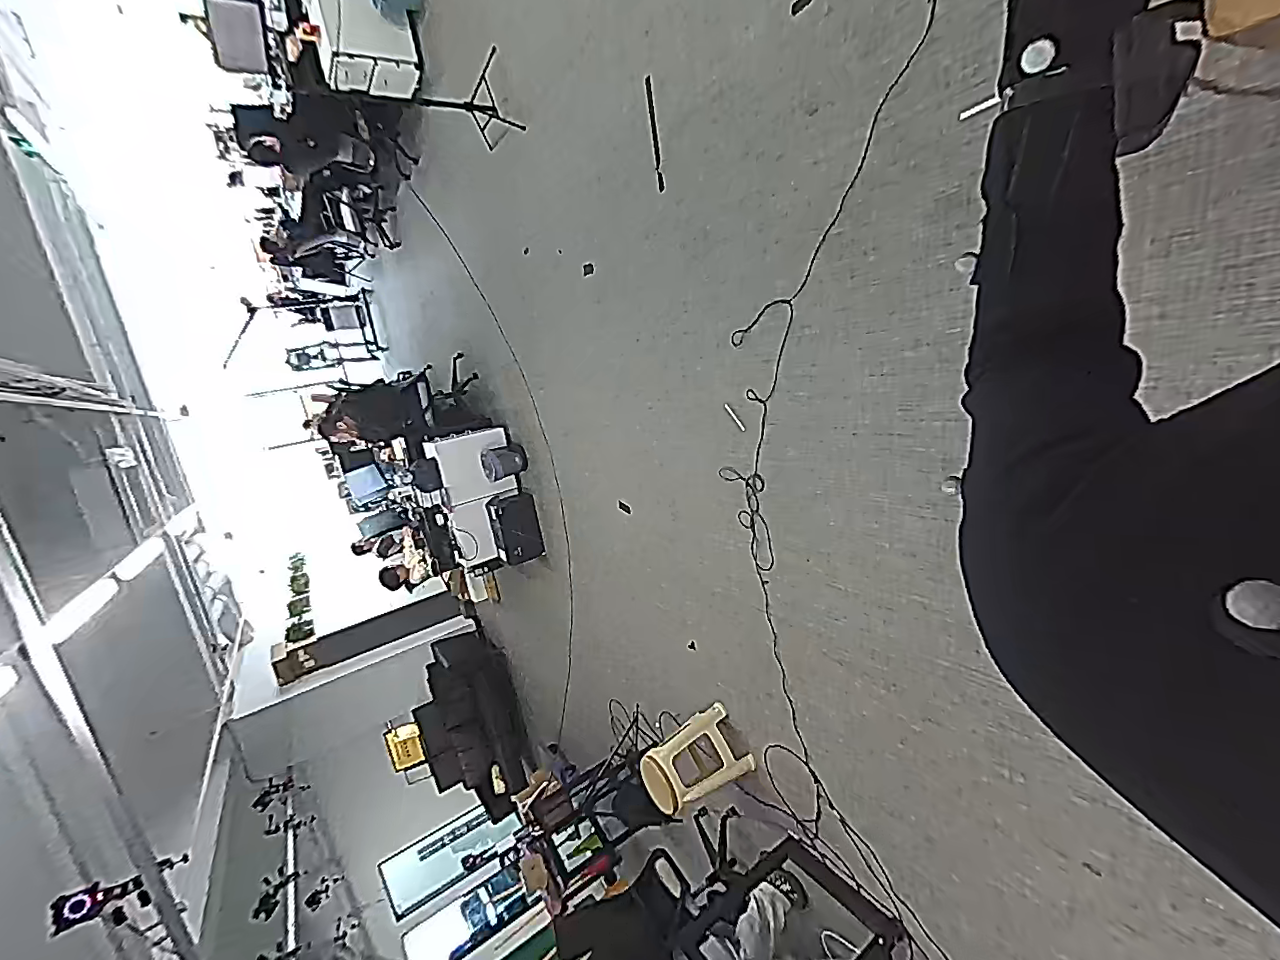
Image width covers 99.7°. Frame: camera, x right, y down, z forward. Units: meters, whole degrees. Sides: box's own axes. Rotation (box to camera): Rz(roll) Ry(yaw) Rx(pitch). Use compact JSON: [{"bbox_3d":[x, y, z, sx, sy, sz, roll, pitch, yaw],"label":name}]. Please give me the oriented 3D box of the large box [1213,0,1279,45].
[{"bbox_3d":[0.495,-0.424,0.168,0.408,0.320,0.320,6,116,57],"label":"large box"}]
